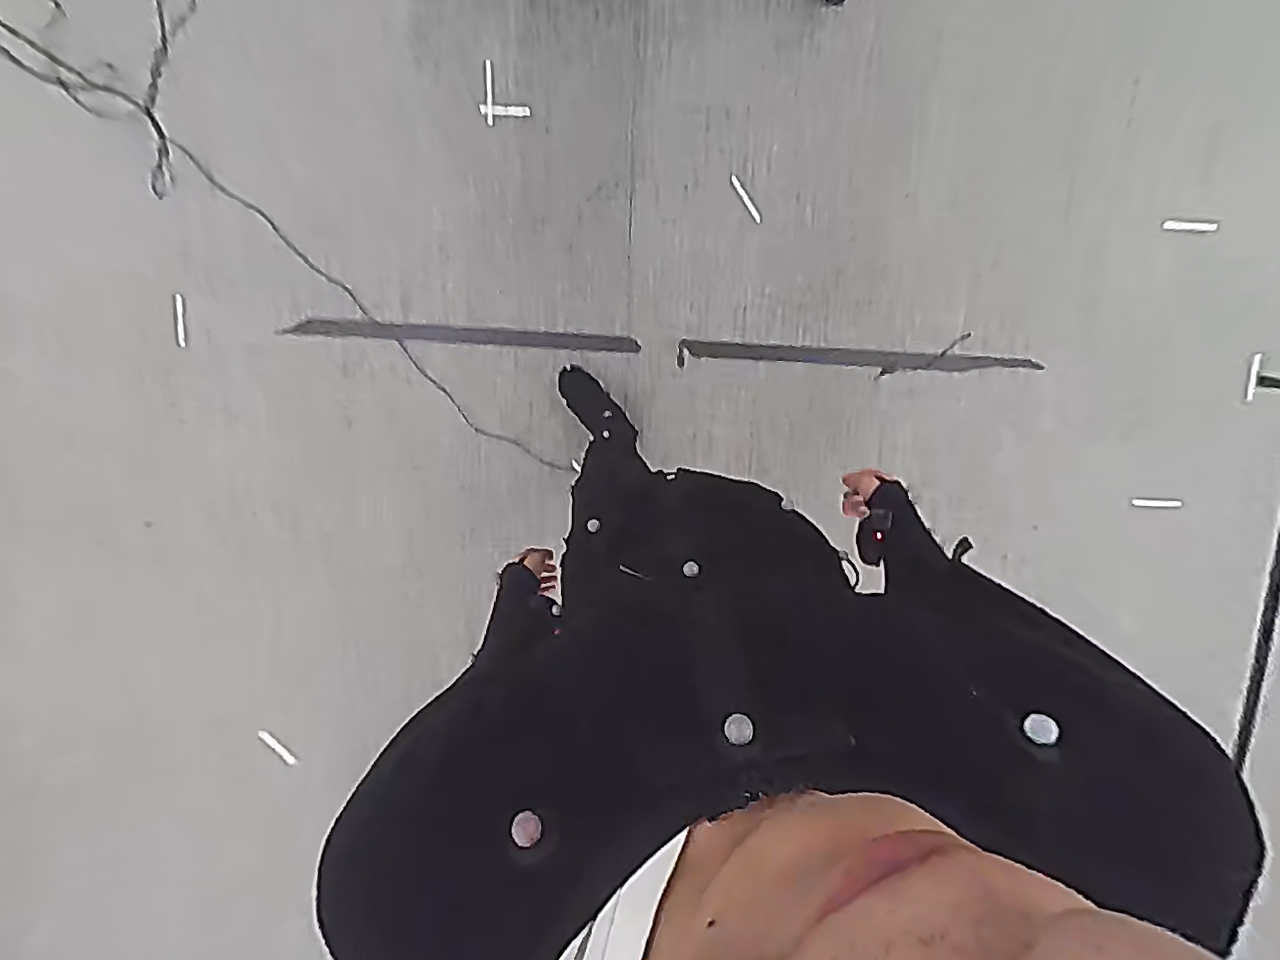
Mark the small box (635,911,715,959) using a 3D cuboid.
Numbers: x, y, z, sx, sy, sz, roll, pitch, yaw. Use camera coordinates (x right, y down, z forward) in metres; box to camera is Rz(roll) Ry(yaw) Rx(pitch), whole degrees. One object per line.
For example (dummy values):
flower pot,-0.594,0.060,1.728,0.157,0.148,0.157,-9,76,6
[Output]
small box,0.084,1.176,1.287,0.179,0.176,0.168,8,98,-2
